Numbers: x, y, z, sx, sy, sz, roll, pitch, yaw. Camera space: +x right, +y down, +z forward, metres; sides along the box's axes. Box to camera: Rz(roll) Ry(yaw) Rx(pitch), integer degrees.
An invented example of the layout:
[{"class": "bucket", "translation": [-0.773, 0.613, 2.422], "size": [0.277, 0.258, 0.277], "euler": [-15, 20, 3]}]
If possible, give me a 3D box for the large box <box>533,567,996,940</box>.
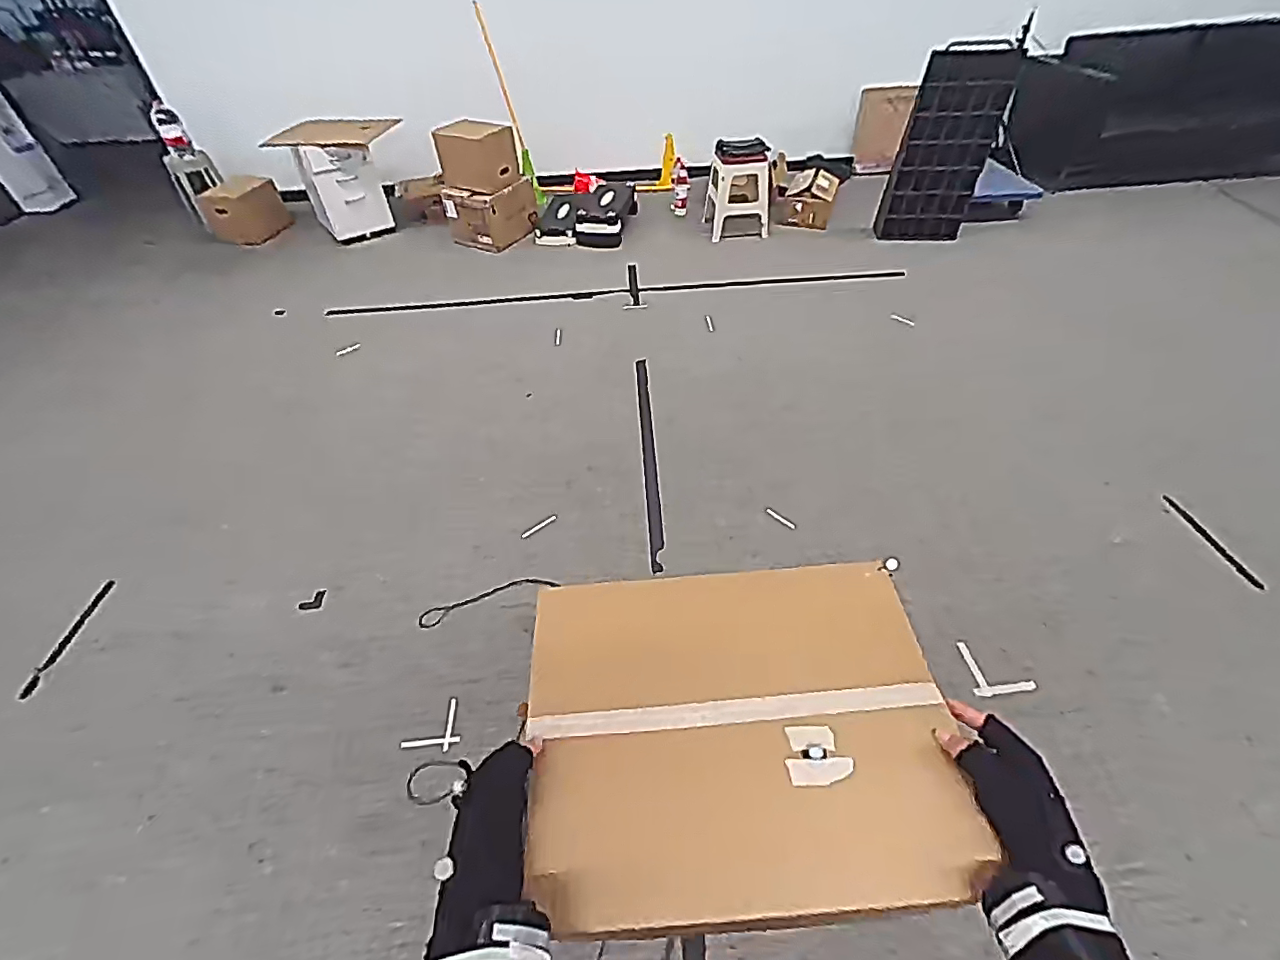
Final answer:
[{"class": "large box", "translation": [0.100, 0.336, 0.660], "size": [0.408, 0.320, 0.320], "euler": [-5, 49, -1]}]
